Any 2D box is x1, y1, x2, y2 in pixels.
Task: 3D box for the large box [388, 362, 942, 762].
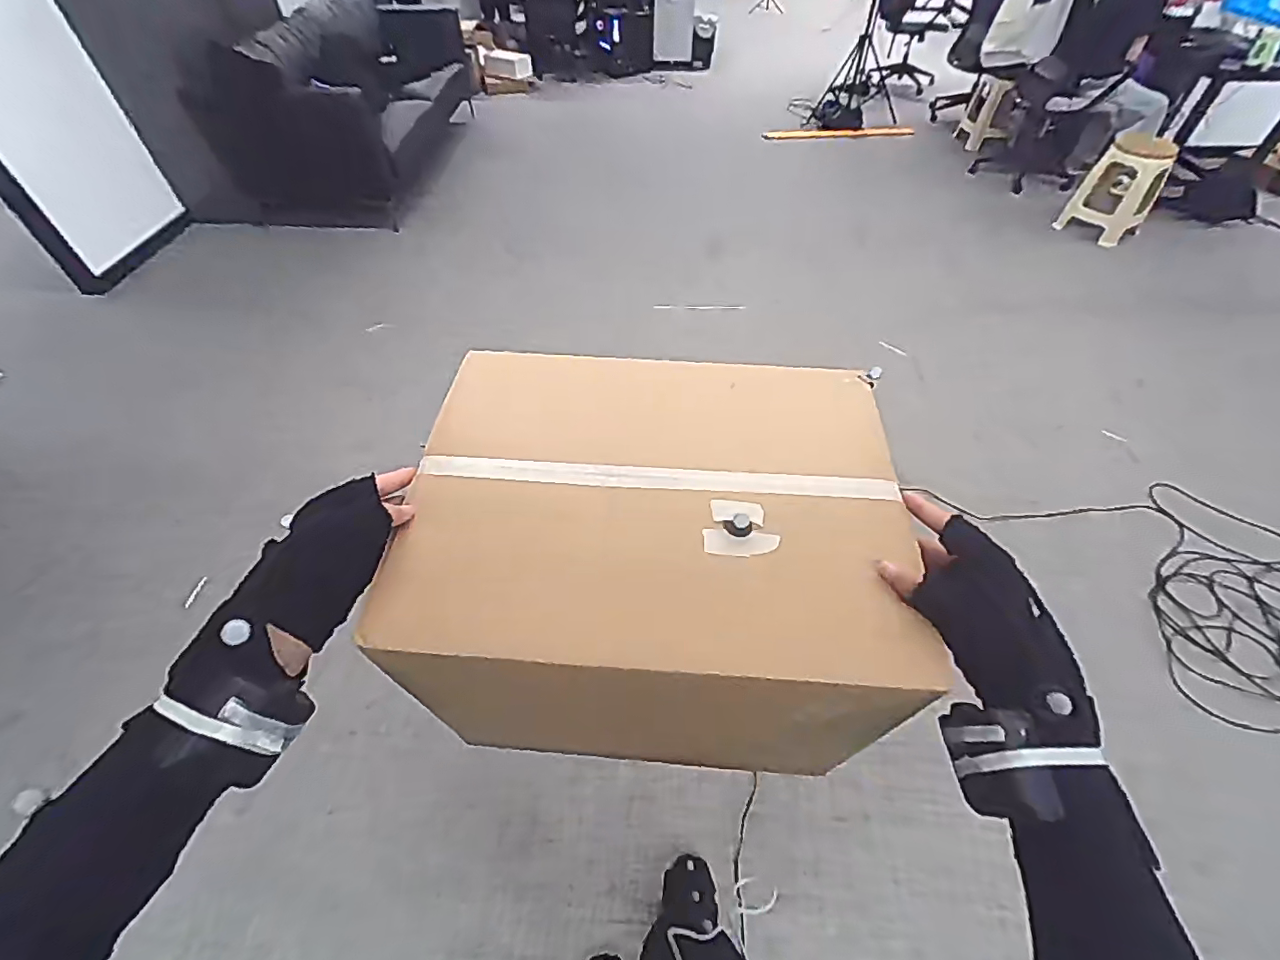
[{"bbox_3d":[0.020,0.097,0.588,0.408,0.320,0.320,4,53,1],"label":"large box"}]
